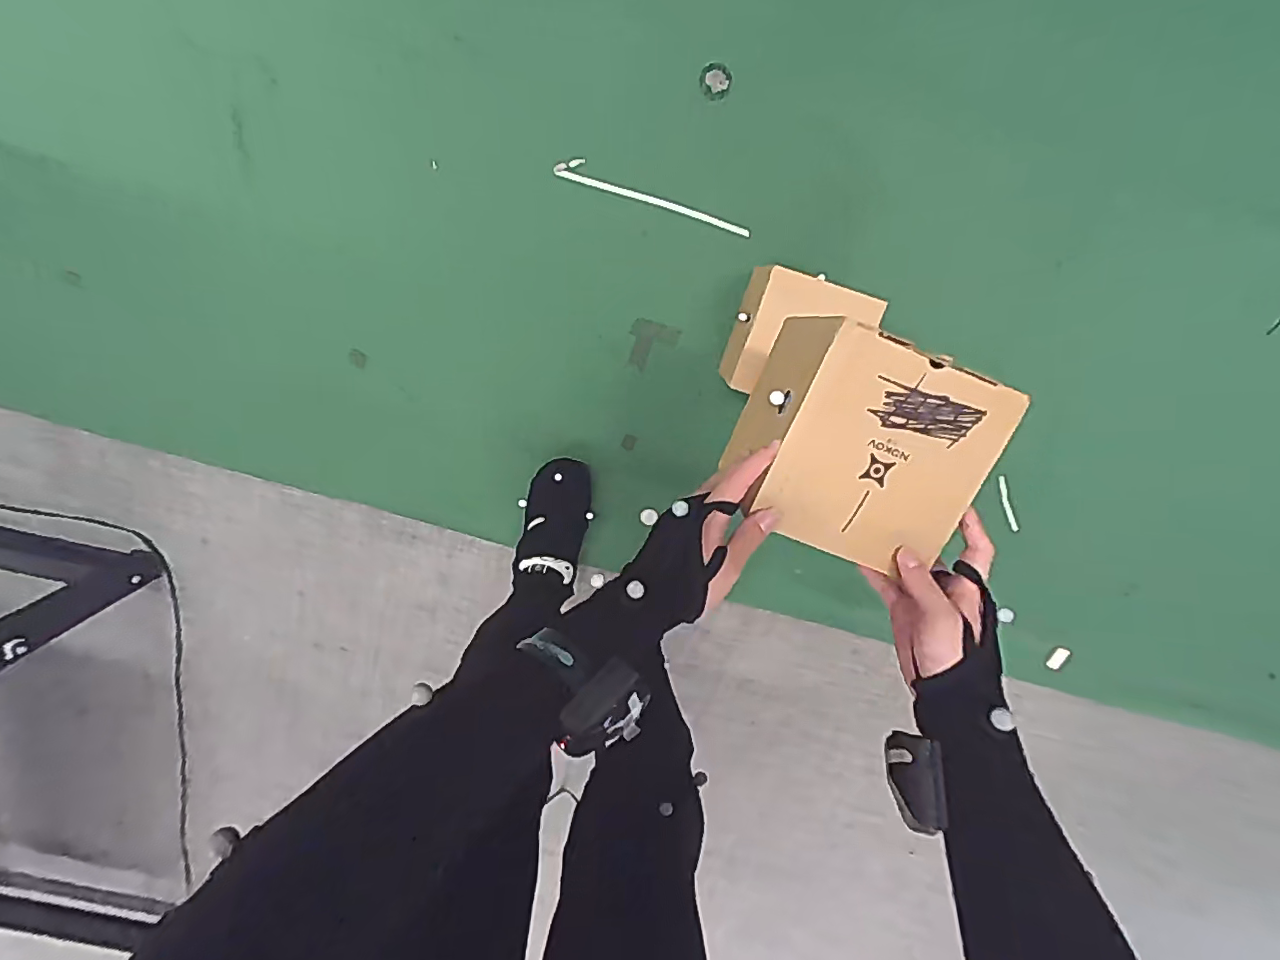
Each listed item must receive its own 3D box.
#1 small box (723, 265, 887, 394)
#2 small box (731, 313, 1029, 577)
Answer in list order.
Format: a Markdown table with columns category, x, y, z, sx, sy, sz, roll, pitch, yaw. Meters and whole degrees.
| category | x | y | z | sx | sy | sz | roll | pitch | yaw |
| --- | --- | --- | --- | --- | --- | --- | --- | --- | --- |
| small box | 0.236 | -0.213 | 0.830 | 0.168 | 0.176 | 0.179 | 18 | 109 | -4 |
| small box | 0.200 | -0.044 | 0.513 | 0.168 | 0.176 | 0.179 | 21 | 106 | -6 |
